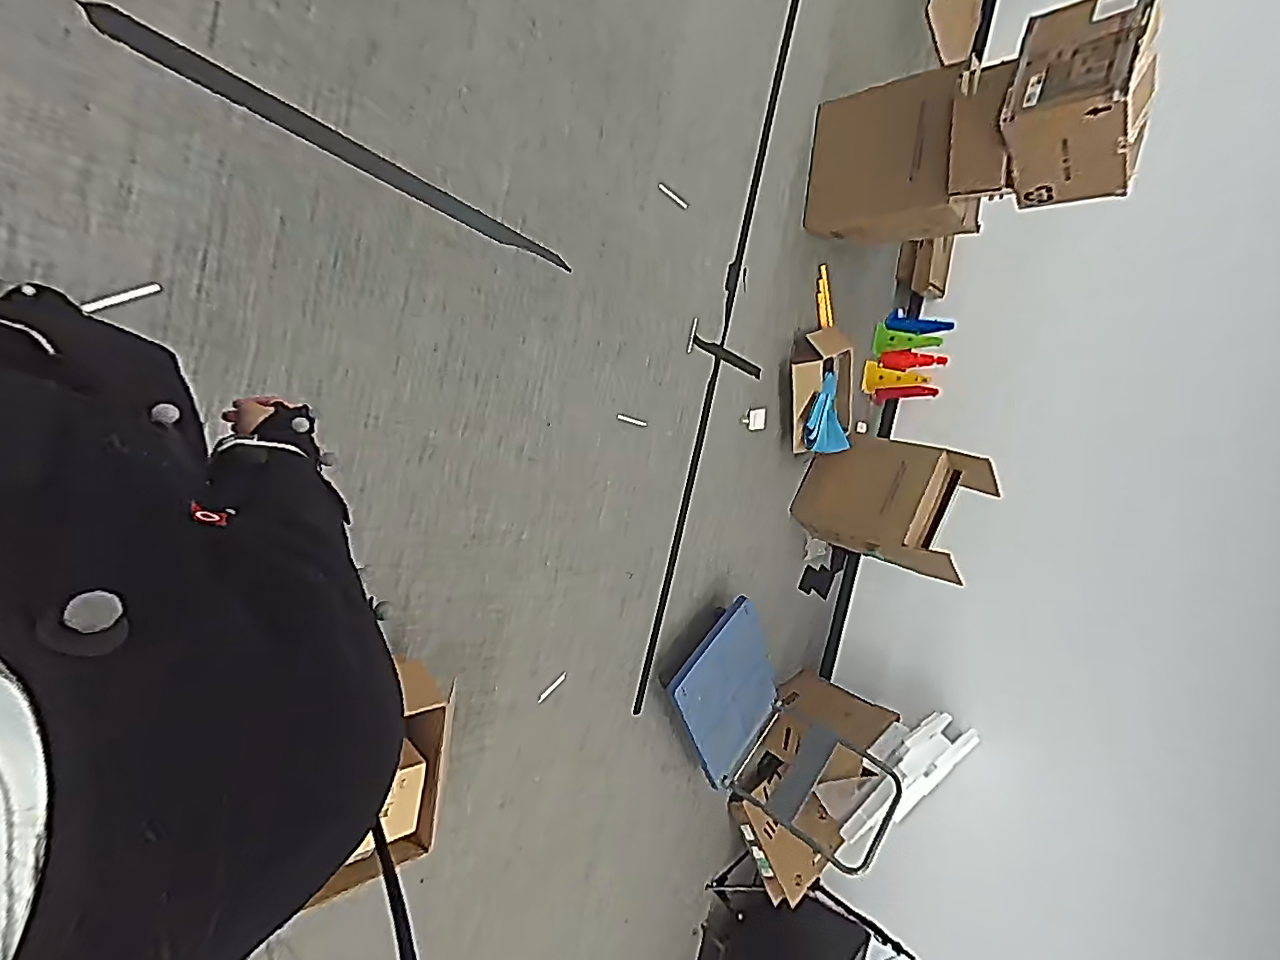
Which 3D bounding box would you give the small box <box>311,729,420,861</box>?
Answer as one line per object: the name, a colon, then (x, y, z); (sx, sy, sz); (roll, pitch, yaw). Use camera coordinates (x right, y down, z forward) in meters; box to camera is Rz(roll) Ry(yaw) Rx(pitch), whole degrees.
small box: (-0.631, 0.706, 1.236); (0.168, 0.176, 0.179); (7, 95, -48)
